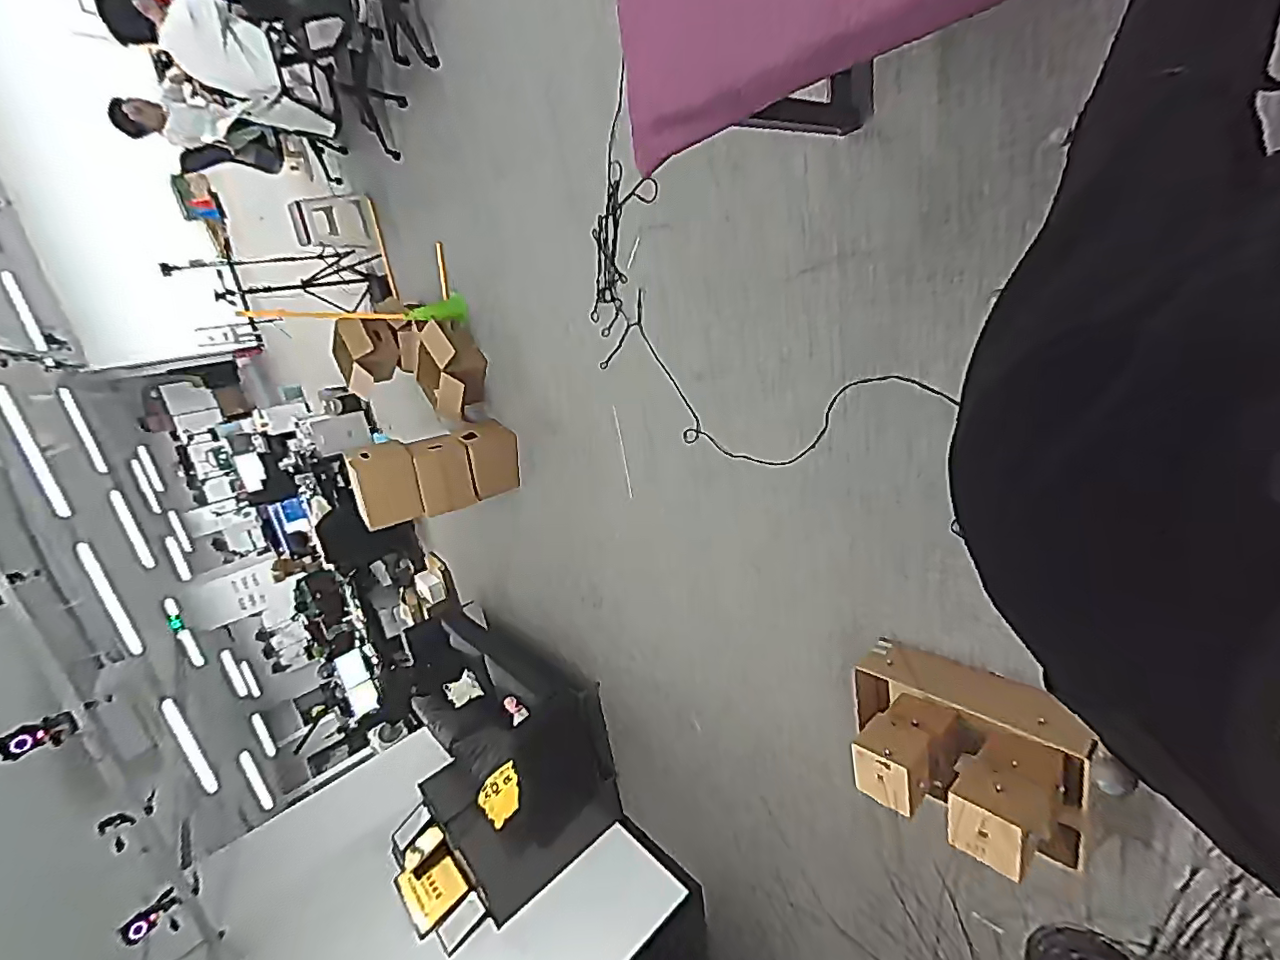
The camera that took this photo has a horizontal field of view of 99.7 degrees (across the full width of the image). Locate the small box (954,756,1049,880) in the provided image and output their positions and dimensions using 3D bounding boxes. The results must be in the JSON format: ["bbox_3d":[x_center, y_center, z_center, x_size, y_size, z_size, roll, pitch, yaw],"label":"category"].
[{"bbox_3d":[0.942,0.868,1.409,0.168,0.176,0.179,11,115,51],"label":"small box"}]

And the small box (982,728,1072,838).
[{"bbox_3d":[1.074,0.827,1.499,0.179,0.176,0.168,5,111,53],"label":"small box"}]

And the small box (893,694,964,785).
[{"bbox_3d":[0.902,0.809,1.708,0.179,0.176,0.168,3,109,53],"label":"small box"}]

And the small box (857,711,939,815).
[{"bbox_3d":[0.772,0.835,1.611,0.168,0.176,0.179,7,114,50],"label":"small box"}]
